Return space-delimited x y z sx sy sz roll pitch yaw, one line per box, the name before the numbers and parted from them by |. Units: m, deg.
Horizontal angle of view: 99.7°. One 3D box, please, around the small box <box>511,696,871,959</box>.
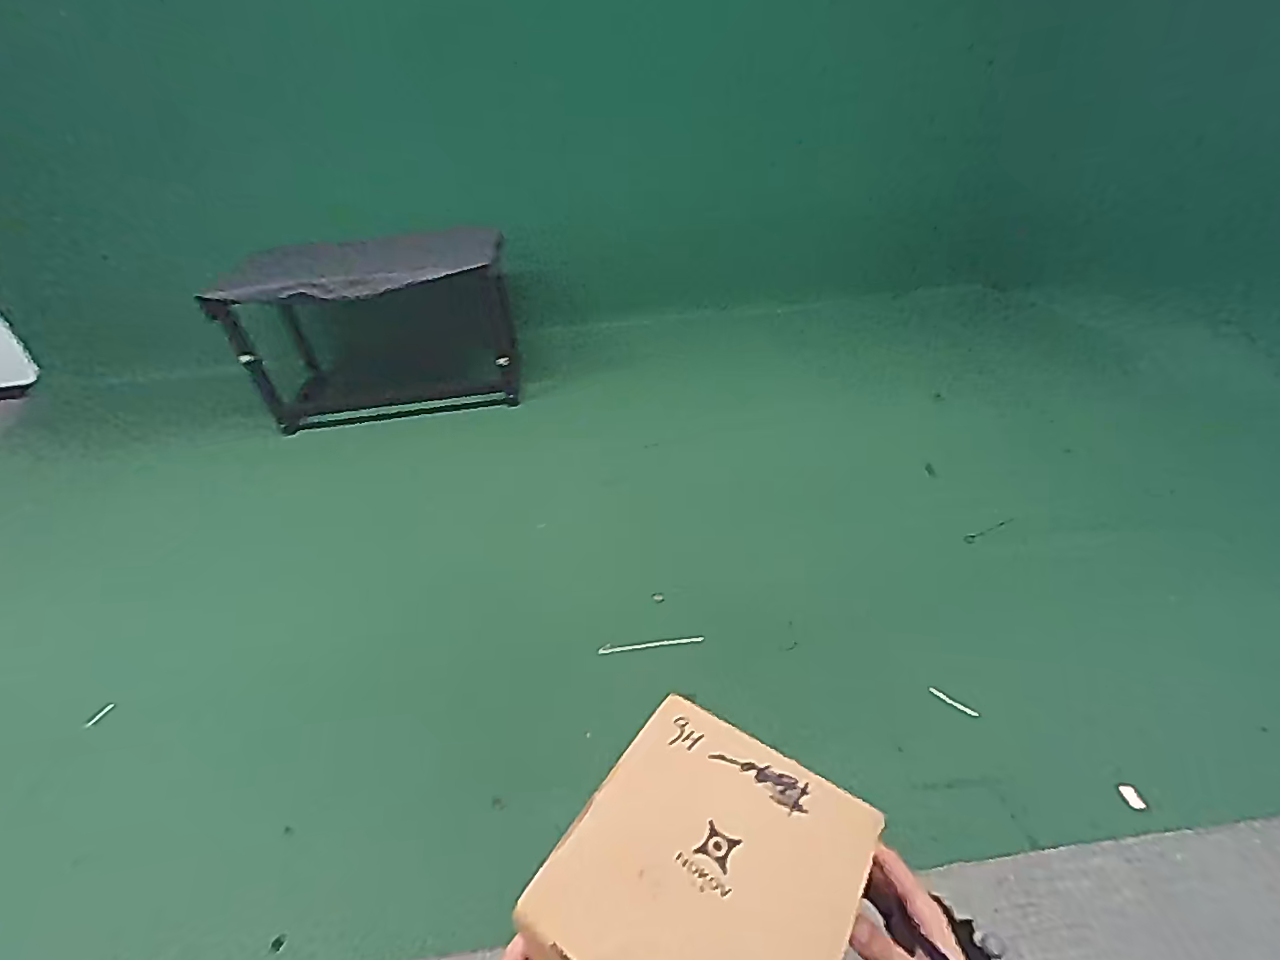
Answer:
small box | 0.041 0.302 0.379 0.168 0.176 0.179 20 39 29
